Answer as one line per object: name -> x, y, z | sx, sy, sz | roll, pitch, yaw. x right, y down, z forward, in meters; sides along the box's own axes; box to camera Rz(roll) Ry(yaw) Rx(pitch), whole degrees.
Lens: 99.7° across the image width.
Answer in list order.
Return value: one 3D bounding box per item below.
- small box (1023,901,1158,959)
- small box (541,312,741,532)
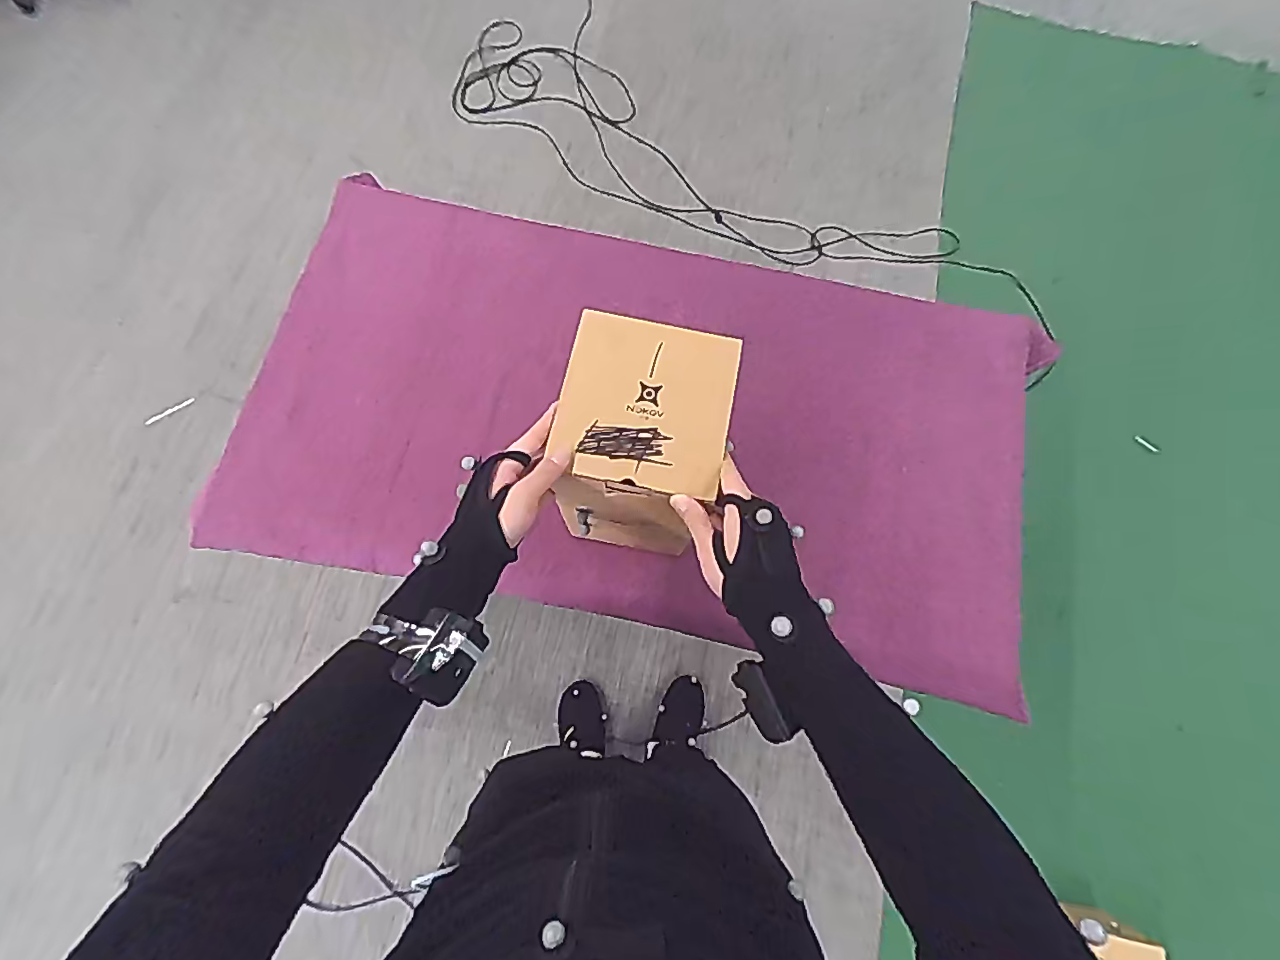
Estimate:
small box -> 1.029, 1.112, 1.242 | 0.179, 0.176, 0.168 | 14, 74, 1
small box -> 0.002, -0.051, 0.595 | 0.168, 0.176, 0.179 | 12, 73, 1
